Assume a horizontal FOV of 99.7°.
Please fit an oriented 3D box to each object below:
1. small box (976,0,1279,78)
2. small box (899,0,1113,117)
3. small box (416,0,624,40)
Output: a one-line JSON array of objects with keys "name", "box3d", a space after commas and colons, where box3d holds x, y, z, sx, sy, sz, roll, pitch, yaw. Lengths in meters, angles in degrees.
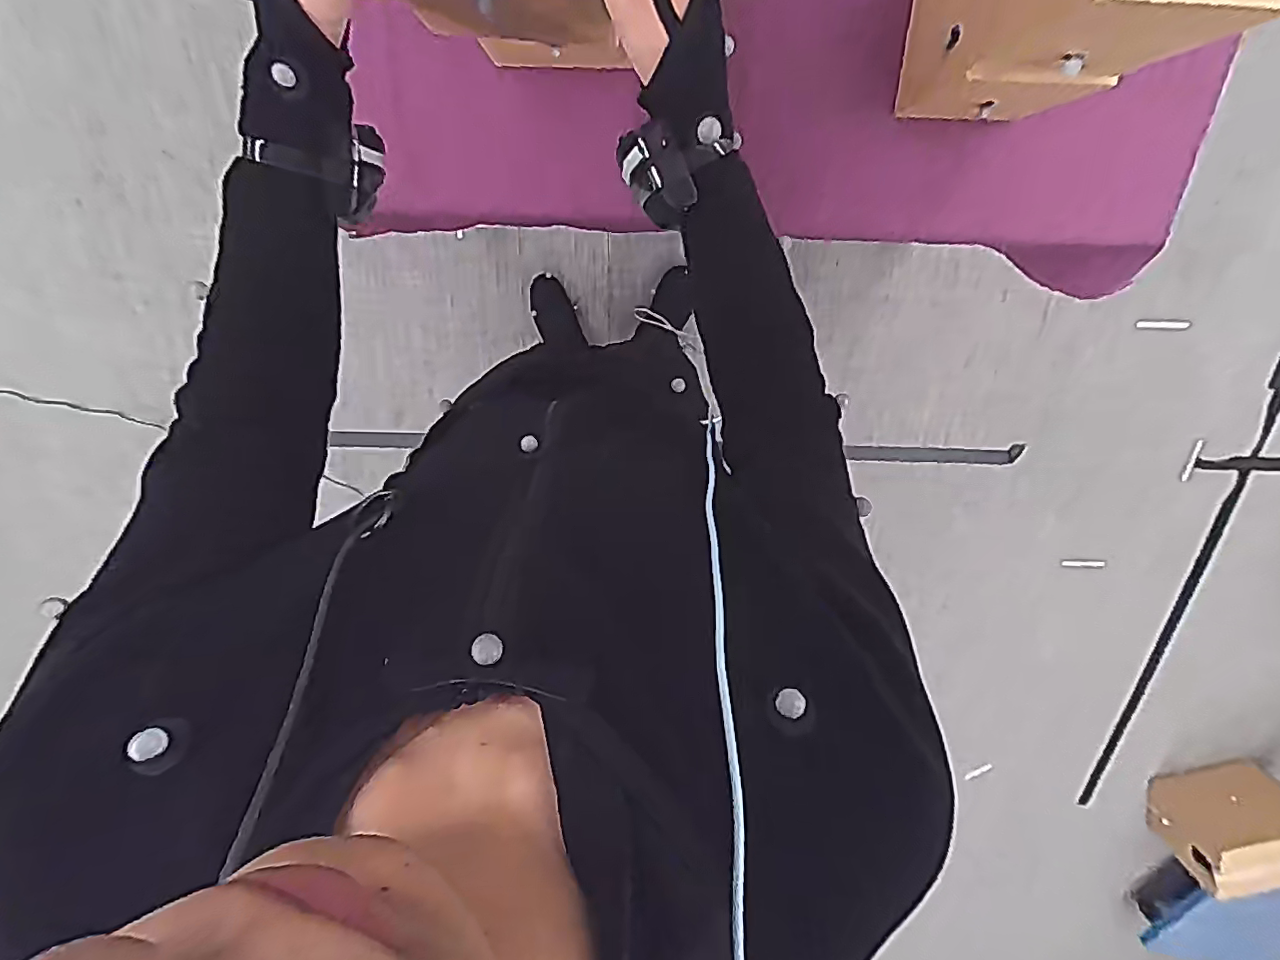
[{"name": "small box", "box3d": [0.427, -0.475, 0.459, 0.168, 0.176, 0.179, 2, 113, -2]}, {"name": "small box", "box3d": [0.421, -0.531, 0.613, 0.168, 0.176, 0.179, 1, 113, -2]}, {"name": "small box", "box3d": [-0.095, -0.455, 0.401, 0.179, 0.176, 0.168, 4, 116, -2]}]
